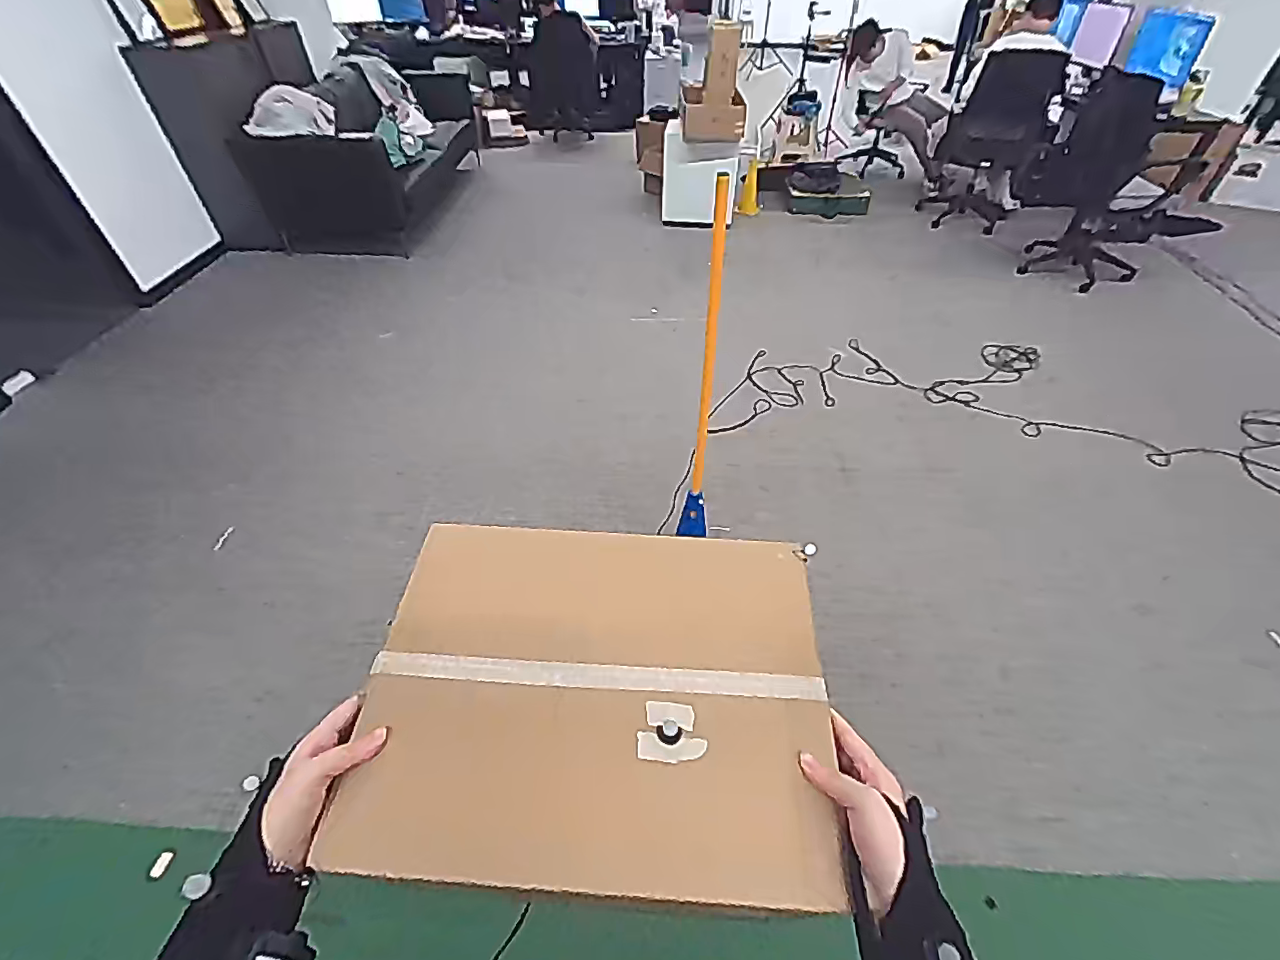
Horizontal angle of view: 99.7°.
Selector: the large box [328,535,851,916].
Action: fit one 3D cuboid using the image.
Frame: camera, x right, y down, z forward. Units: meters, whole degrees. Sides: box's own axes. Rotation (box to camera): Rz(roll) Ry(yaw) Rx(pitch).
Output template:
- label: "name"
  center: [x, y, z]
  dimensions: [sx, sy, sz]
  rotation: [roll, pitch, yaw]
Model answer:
- label: "large box"
  center: [-0.037, 0.282, 0.611]
  dimensions: [0.408, 0.320, 0.320]
  rotation: [3, 50, 1]
